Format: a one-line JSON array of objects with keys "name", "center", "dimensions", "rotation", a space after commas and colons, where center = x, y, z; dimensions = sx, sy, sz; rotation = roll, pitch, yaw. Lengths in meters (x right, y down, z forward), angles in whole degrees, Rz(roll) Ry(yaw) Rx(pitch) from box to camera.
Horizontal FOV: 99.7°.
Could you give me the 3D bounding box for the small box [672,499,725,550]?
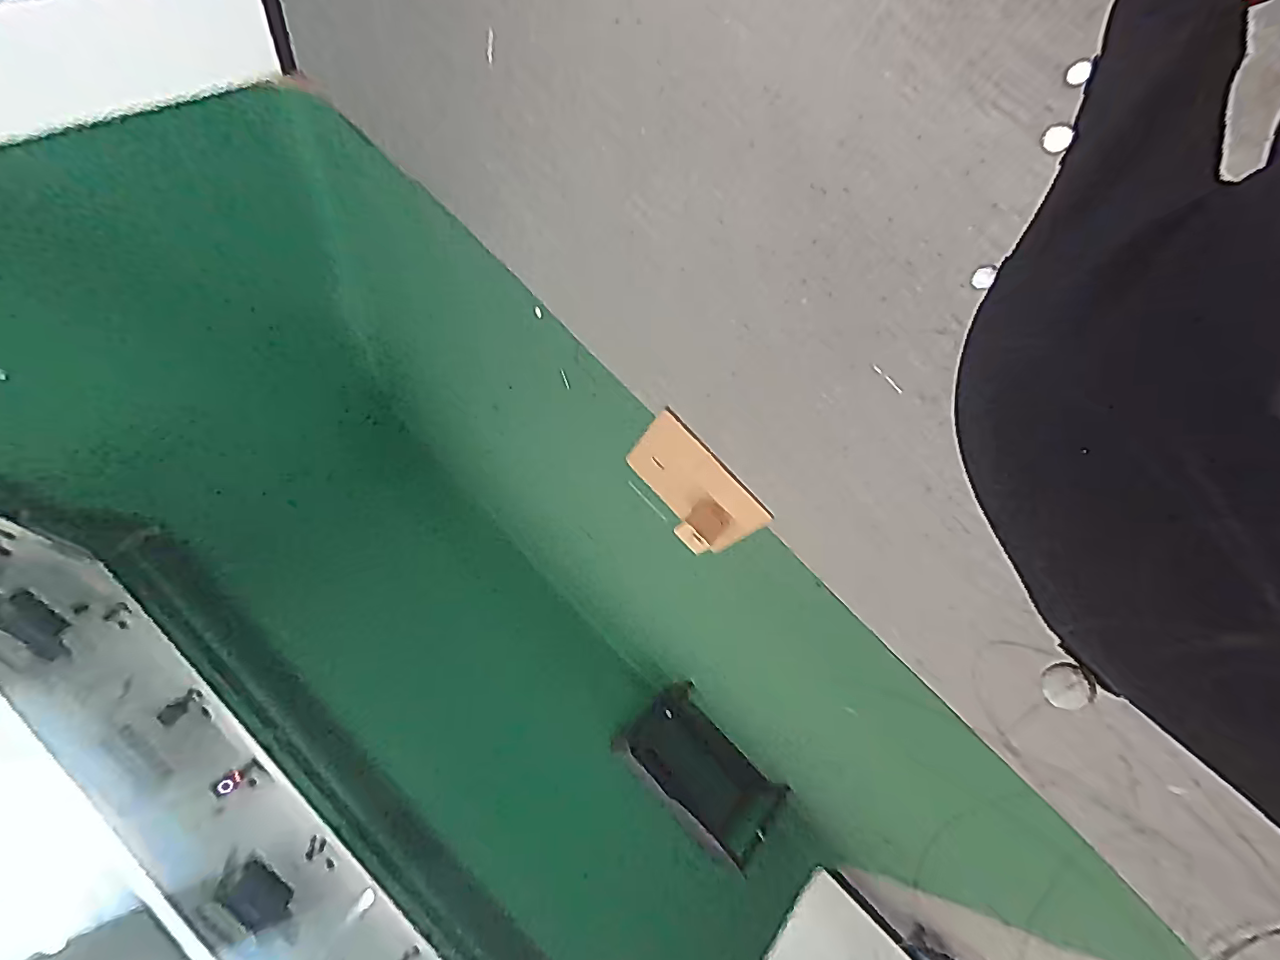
[{"name": "small box", "center": [0.295, 0.217, 2.668], "dimensions": [0.168, 0.176, 0.179], "rotation": [46, 152, 1]}]
